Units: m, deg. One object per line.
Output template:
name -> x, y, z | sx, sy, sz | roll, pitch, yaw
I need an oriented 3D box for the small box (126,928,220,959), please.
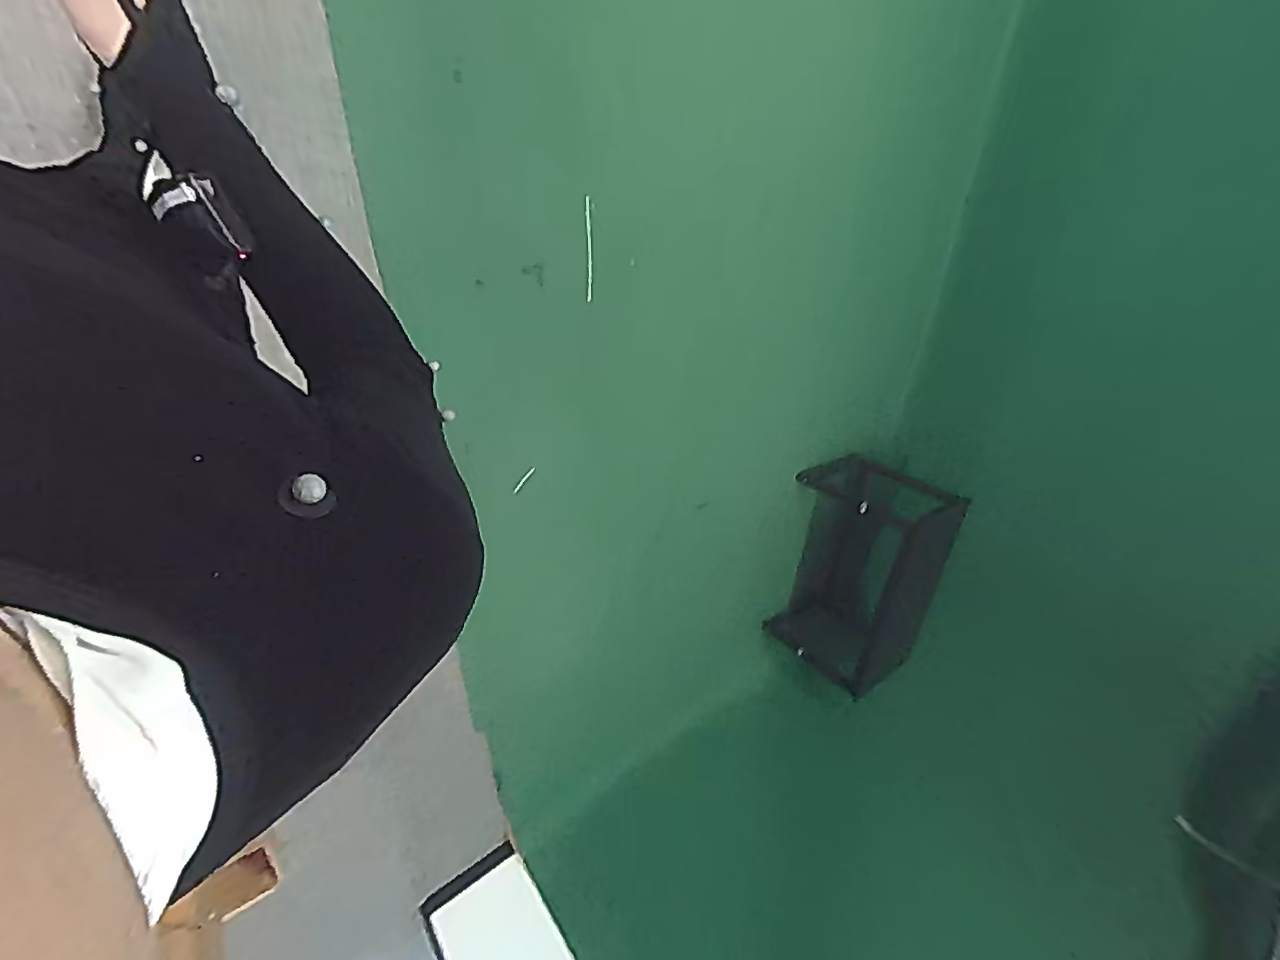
small box -> -0.855, 0.956, 0.955 | 0.168, 0.176, 0.179 | -19, 122, -33

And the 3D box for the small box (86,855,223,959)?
small box -> -0.955, 0.907, 1.077 | 0.168, 0.176, 0.179 | -17, 122, -33
